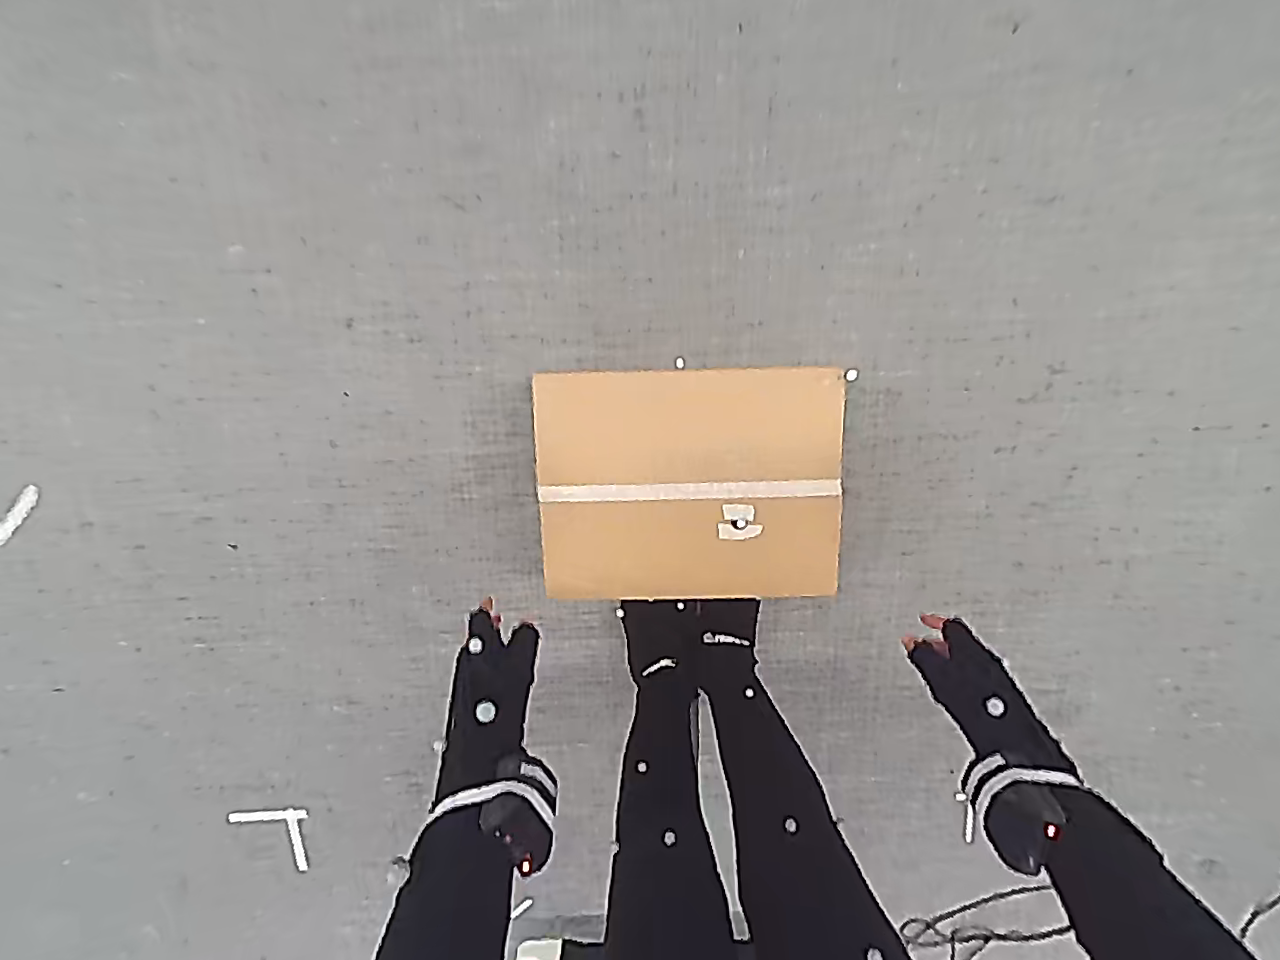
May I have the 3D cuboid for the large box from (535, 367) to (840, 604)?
[{"bbox_3d":[0.066,-0.011,0.873,0.408,0.320,0.320,-2,101,0],"label":"large box"}]
